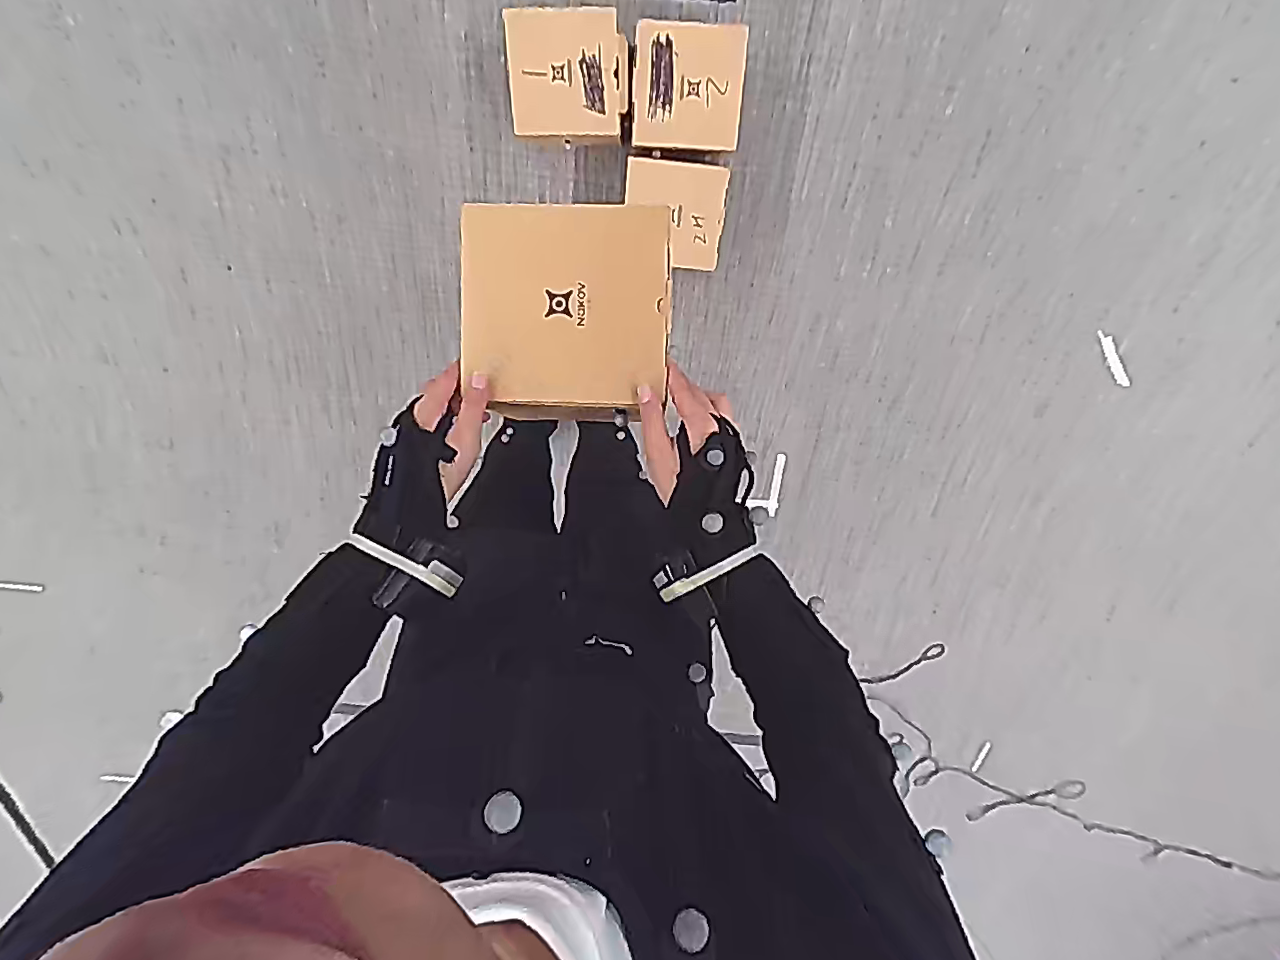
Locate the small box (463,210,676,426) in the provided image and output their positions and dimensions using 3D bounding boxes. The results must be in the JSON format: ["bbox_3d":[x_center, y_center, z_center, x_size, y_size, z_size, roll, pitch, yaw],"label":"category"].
[{"bbox_3d":[-0.057,-0.142,0.528,0.179,0.176,0.168,2,92,1],"label":"small box"}]
